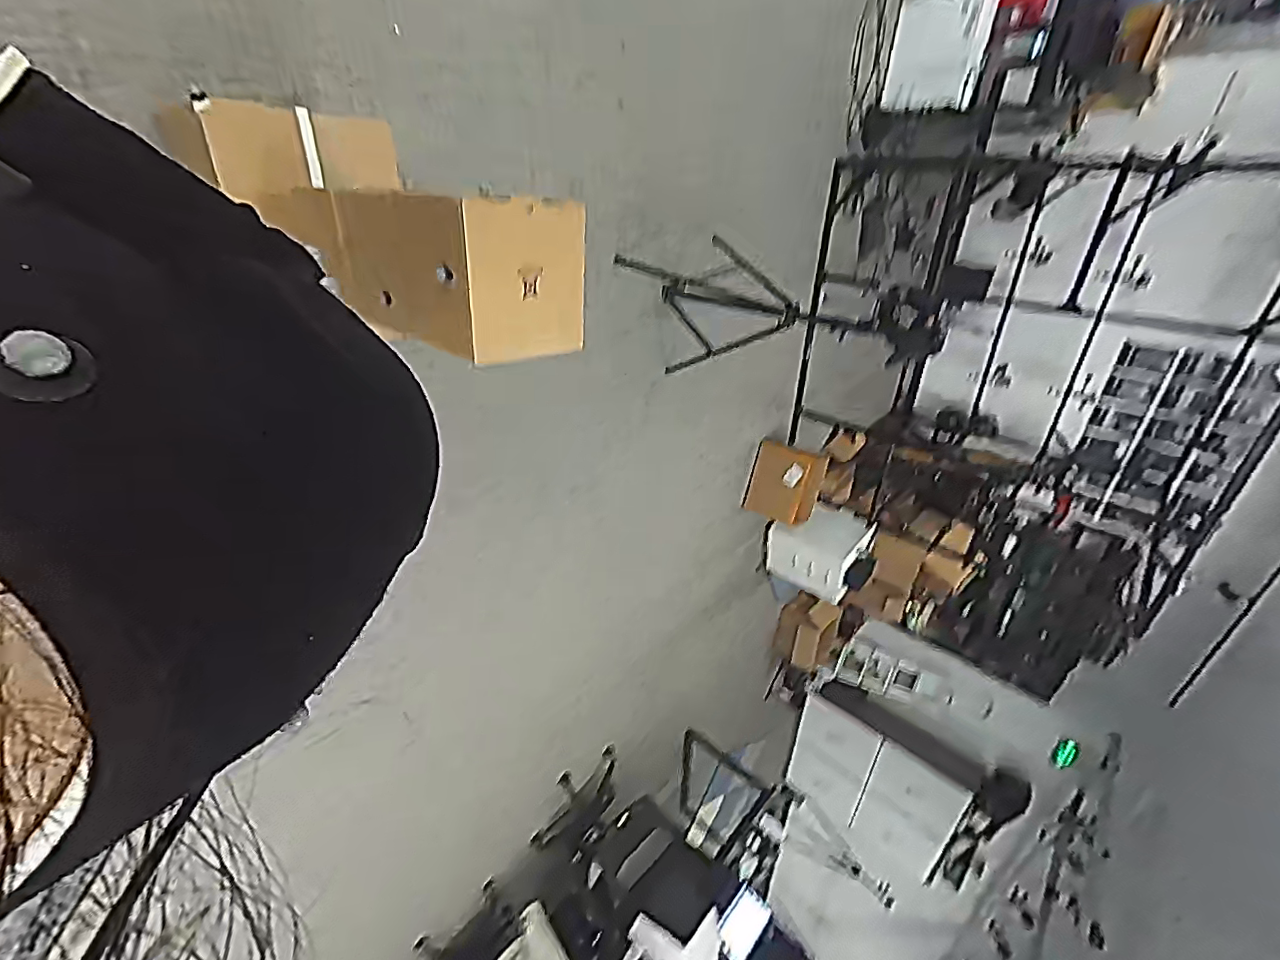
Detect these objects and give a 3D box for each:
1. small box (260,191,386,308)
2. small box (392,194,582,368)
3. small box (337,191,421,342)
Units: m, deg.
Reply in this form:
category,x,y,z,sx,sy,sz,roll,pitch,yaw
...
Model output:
category,x,y,z,sx,sy,sz,roll,pitch,yaw
small box,-0.552,-0.423,0.978,0.168,0.176,0.179,-27,131,-39
small box,-0.192,-0.257,0.688,0.168,0.176,0.179,-22,126,-42
small box,-0.311,-0.312,0.783,0.168,0.176,0.179,-23,127,-42
